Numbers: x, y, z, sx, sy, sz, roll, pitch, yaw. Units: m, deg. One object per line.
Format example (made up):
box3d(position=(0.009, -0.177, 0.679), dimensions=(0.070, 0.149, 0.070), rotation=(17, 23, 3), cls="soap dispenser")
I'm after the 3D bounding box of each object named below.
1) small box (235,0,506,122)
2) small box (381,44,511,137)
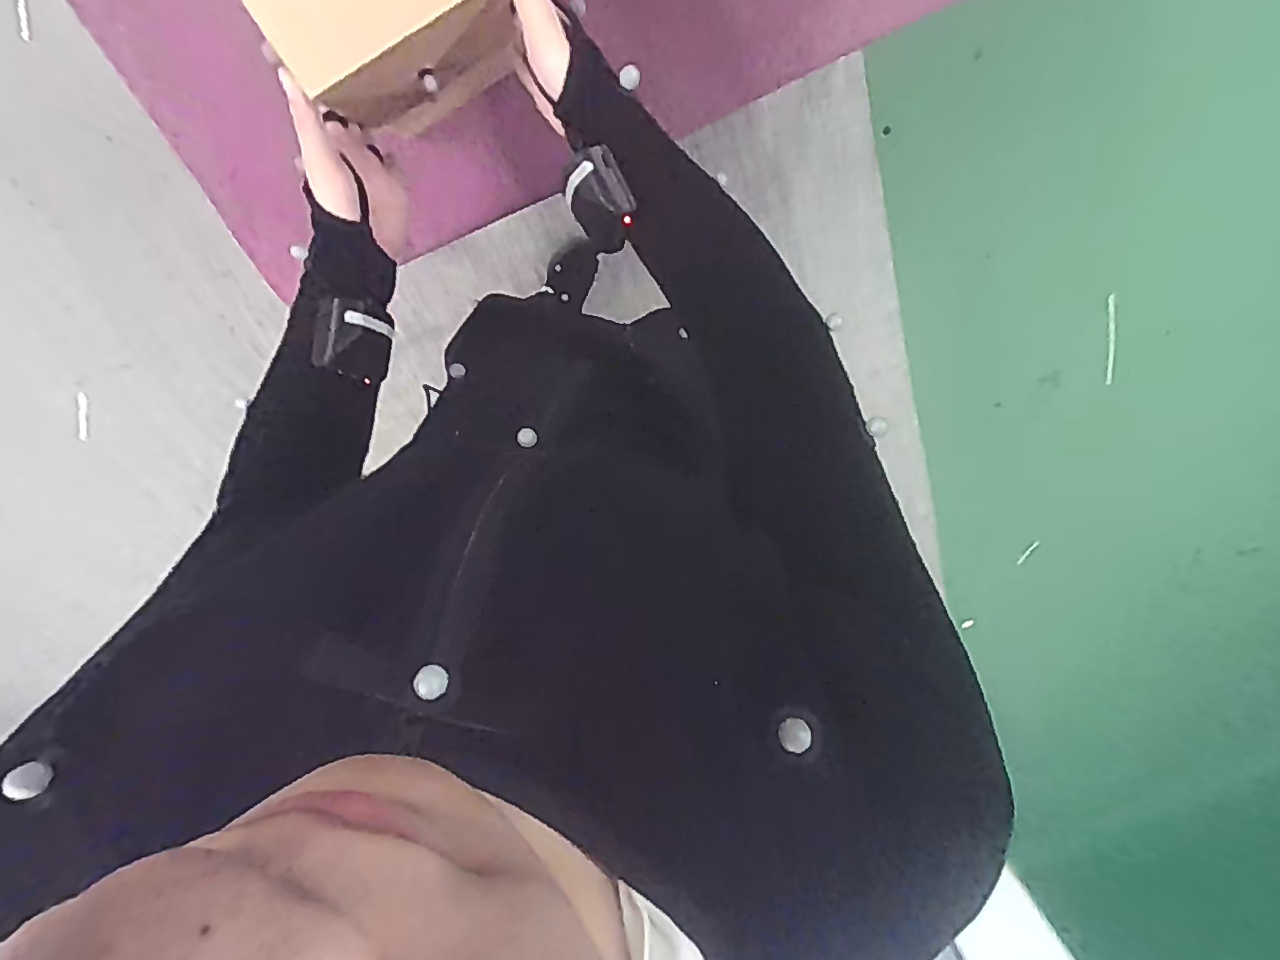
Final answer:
box3d(position=(-0.219, -0.407, 0.416), dimensions=(0.168, 0.176, 0.179), rotation=(-28, 117, 5), cls="small box")
box3d(position=(-0.253, -0.491, 0.556), dimensions=(0.168, 0.176, 0.179), rotation=(-29, 116, 7), cls="small box")
